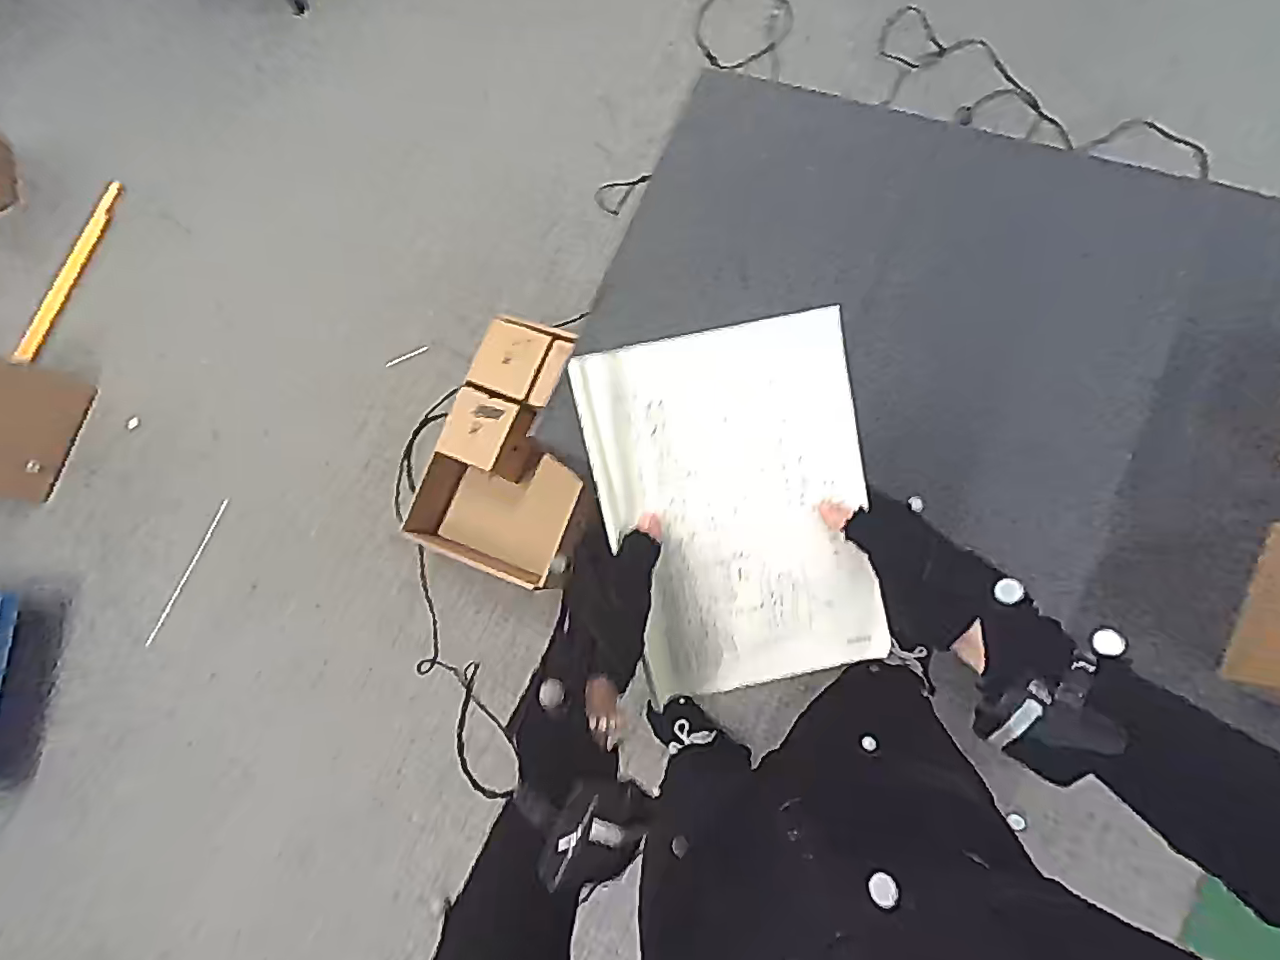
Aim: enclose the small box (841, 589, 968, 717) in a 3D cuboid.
[{"bbox_3d":[0.559,0.372,1.169,0.179,0.176,0.168,-15,31,-15],"label":"small box"}]
